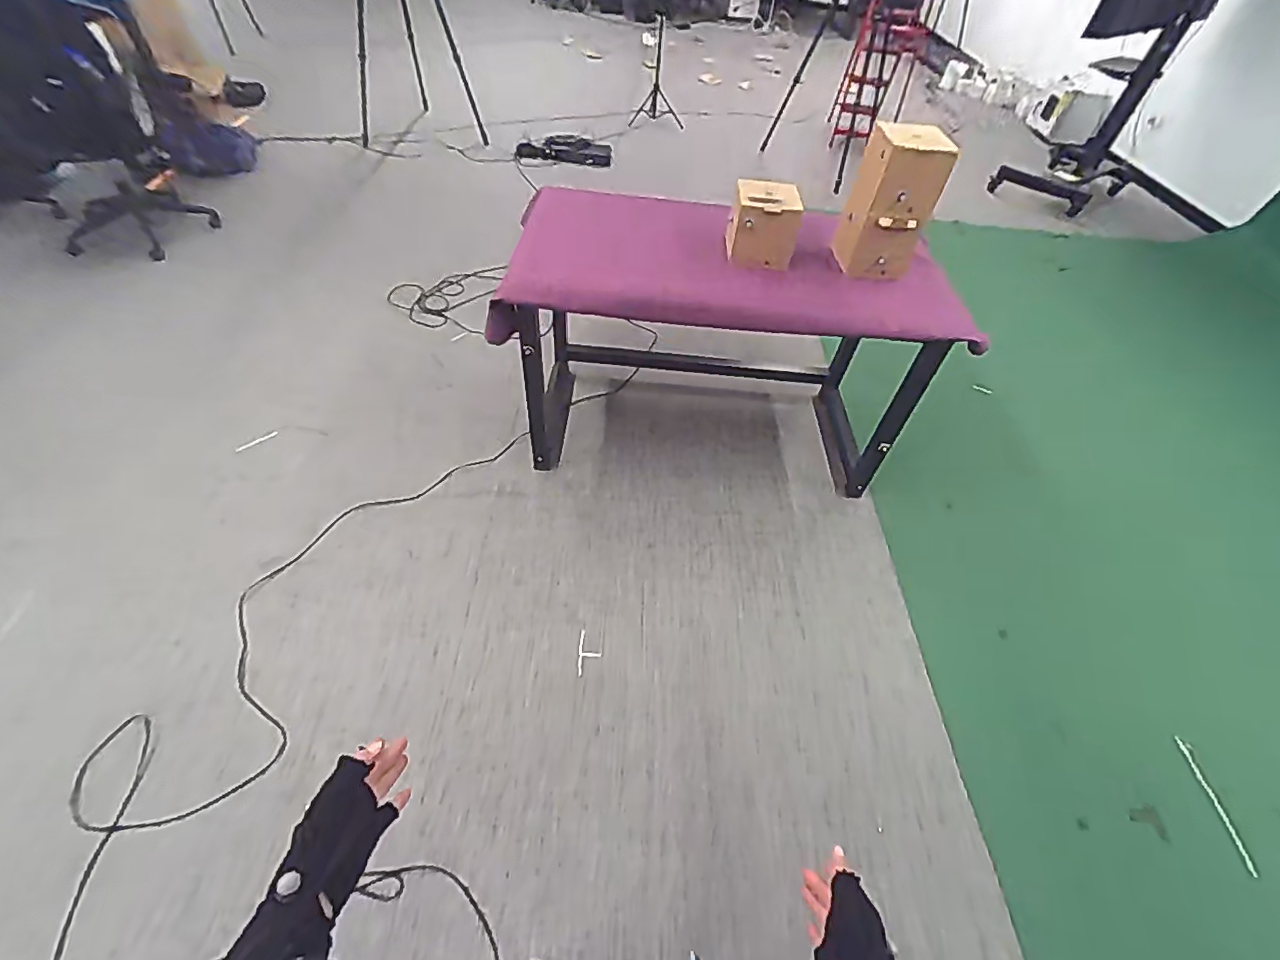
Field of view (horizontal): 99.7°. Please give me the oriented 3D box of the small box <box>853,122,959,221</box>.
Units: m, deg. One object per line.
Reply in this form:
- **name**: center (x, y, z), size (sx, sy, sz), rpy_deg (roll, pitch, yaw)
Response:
- **small box**: center (0.673, -0.795, 1.397), size (0.168, 0.176, 0.179), rpy_deg (3, 51, -3)

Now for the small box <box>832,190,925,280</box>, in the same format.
- **small box**: center (0.658, -0.687, 1.518), size (0.168, 0.176, 0.179), rpy_deg (2, 50, -3)
